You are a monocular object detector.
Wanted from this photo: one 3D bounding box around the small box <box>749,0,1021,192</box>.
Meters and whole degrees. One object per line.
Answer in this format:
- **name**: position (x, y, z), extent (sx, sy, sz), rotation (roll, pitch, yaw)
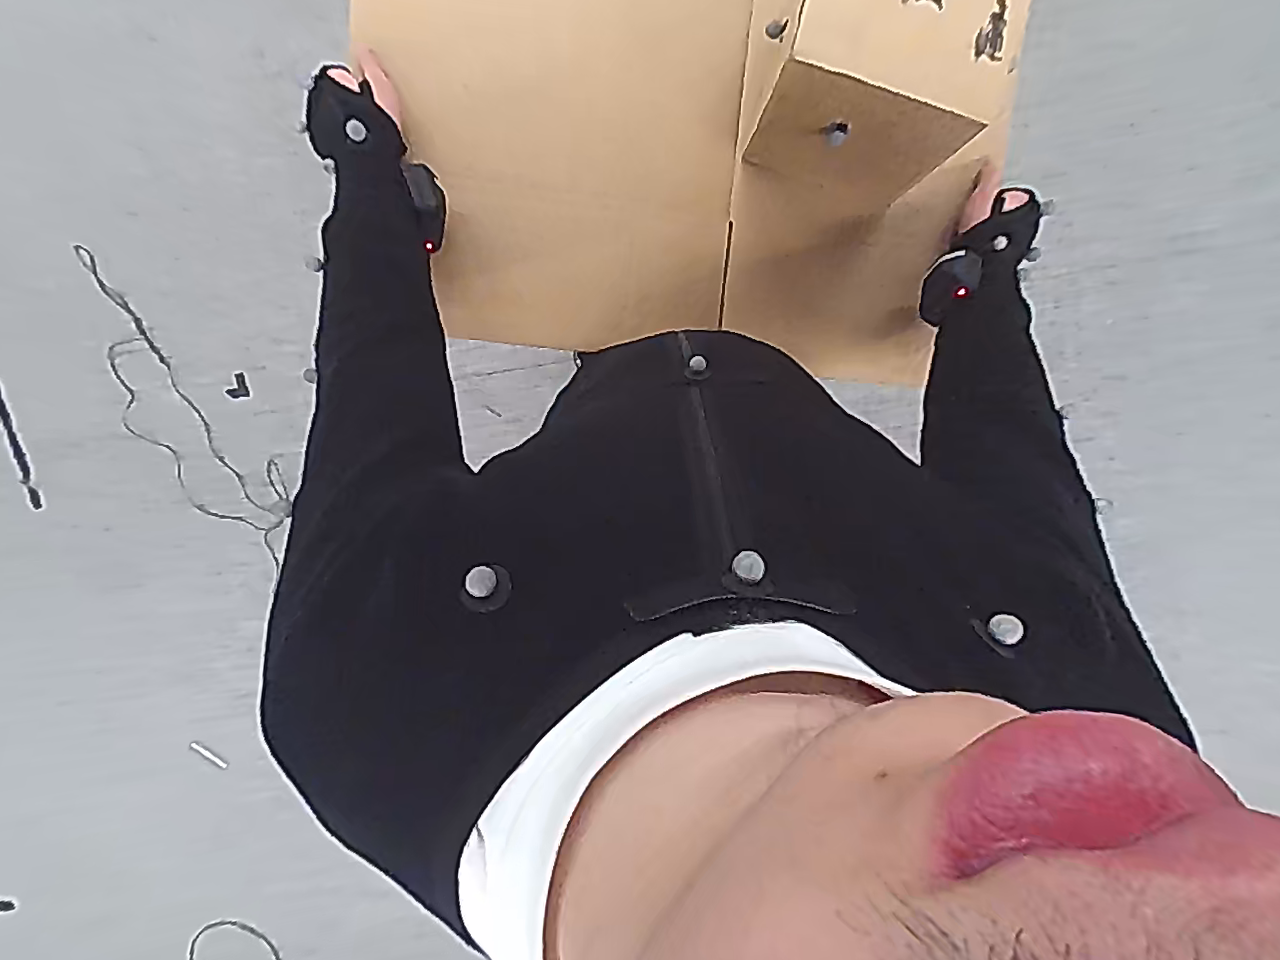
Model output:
- **small box**: position (0.218, -0.403, 0.510), extent (0.179, 0.176, 0.168), rotation (16, 96, -3)
